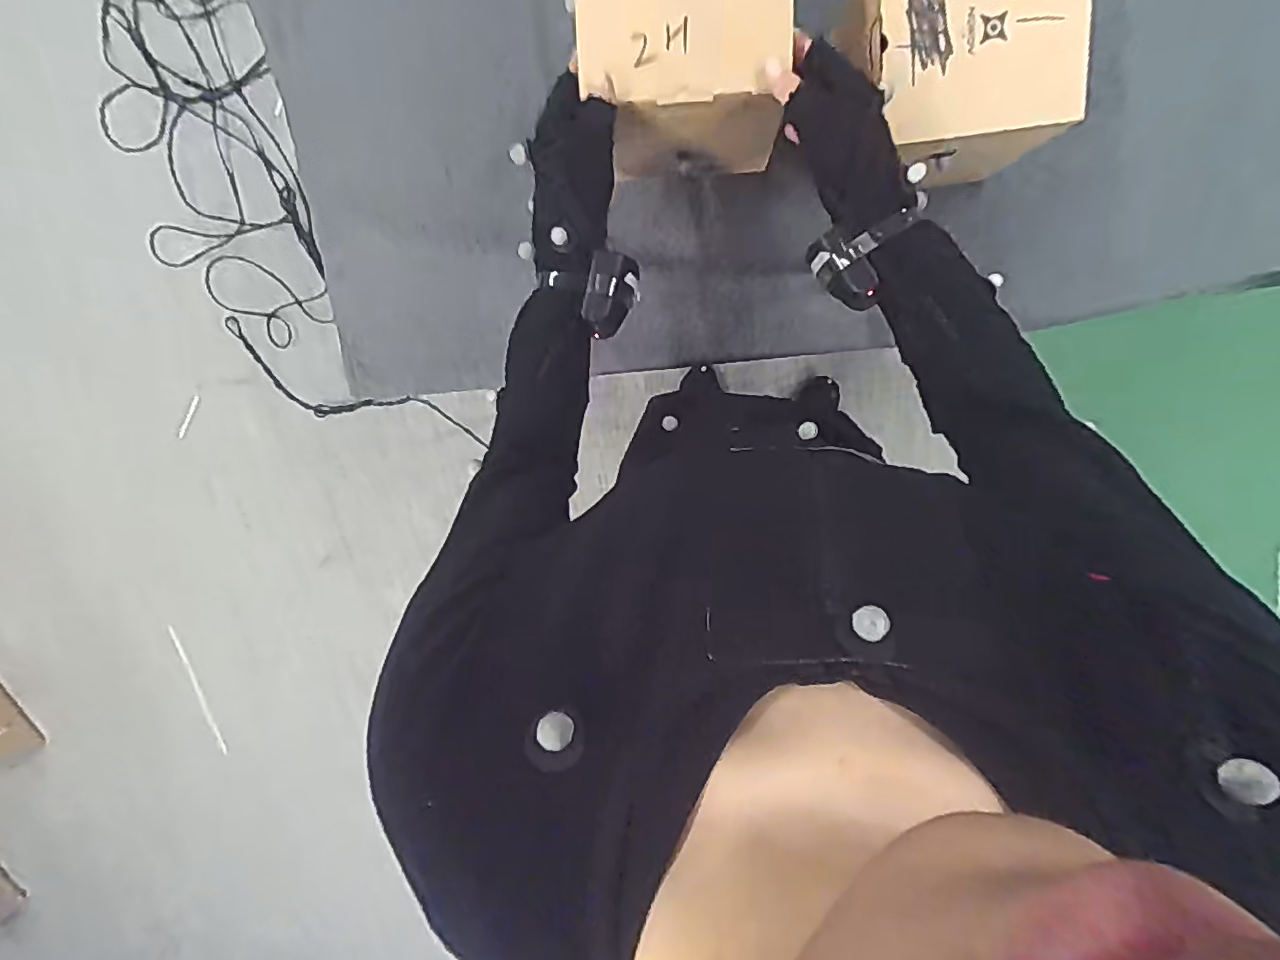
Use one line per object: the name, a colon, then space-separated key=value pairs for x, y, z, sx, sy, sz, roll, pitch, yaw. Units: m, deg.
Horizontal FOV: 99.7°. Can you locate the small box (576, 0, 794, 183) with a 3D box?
small box: x=0.039 y=-0.389 z=0.479 sx=0.168 sy=0.176 sz=0.179 roll=0 pitch=101 yaw=6

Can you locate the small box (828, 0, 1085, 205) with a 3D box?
small box: x=0.296 y=-0.394 z=0.543 sx=0.179 sy=0.176 sz=0.168 roll=-6 pitch=101 yaw=5
